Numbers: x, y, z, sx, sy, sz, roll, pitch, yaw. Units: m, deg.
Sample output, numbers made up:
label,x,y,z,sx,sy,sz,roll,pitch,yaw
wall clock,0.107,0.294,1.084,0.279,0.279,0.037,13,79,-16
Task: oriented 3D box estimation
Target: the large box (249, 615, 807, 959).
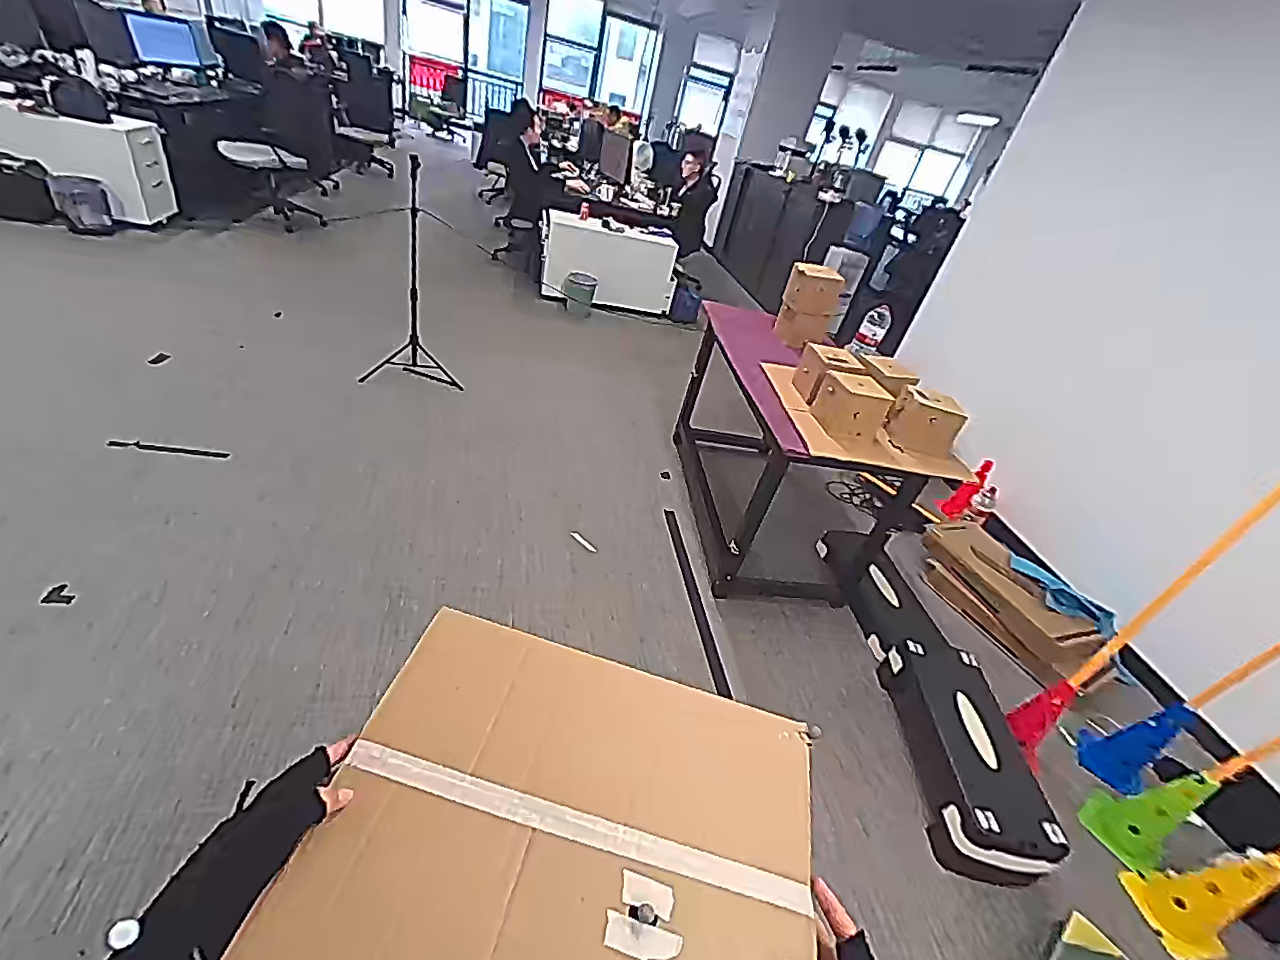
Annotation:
label,x,y,z,sx,sy,sz,roll,pitch,yaw
large box,-0.080,0.404,0.561,0.408,0.320,0.320,18,41,2
